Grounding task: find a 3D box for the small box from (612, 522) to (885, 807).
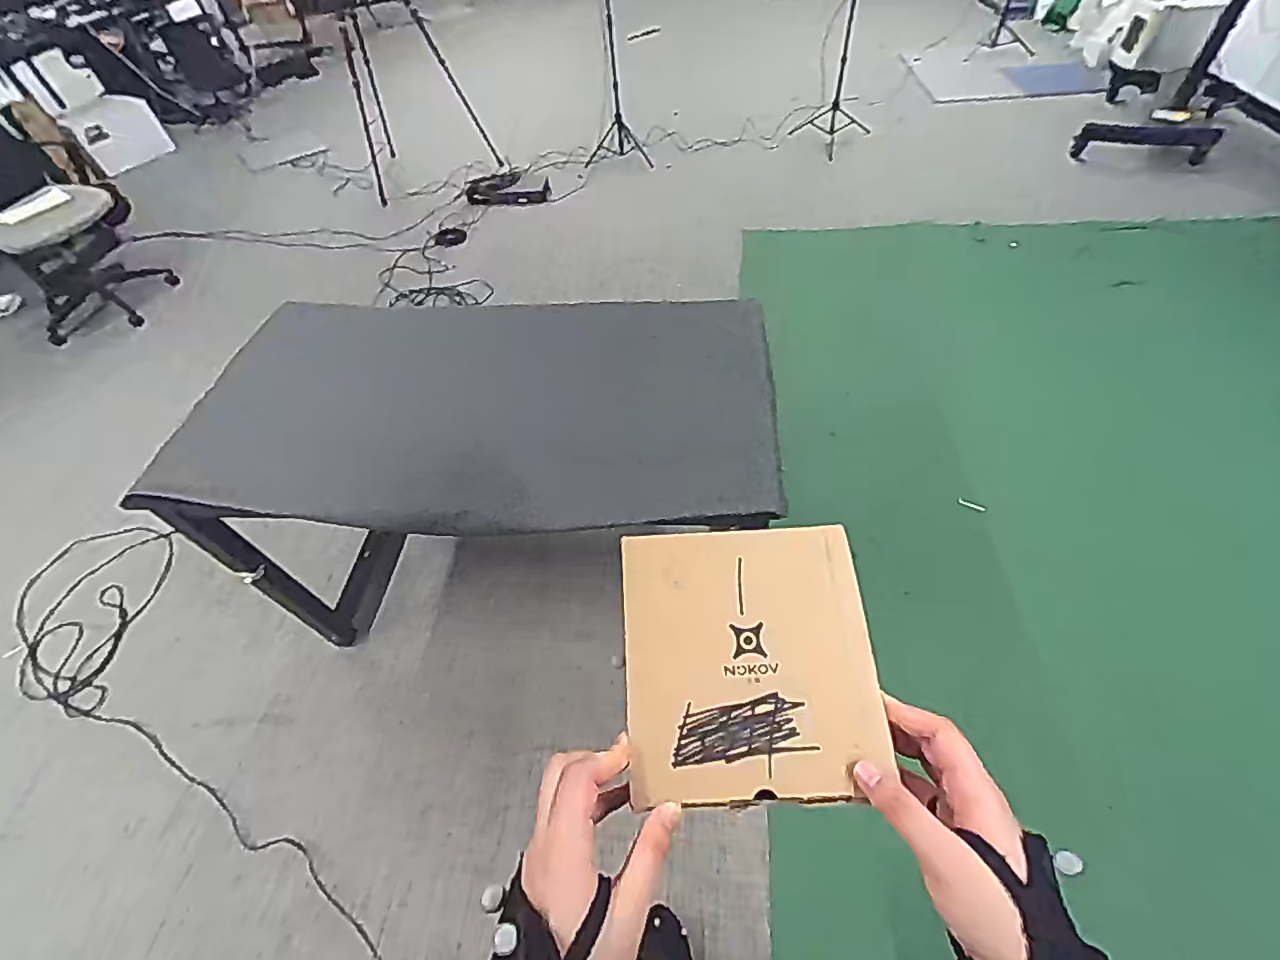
[{"bbox_3d":[0.067,0.146,0.431,0.168,0.176,0.179,-3,65,0],"label":"small box"}]
